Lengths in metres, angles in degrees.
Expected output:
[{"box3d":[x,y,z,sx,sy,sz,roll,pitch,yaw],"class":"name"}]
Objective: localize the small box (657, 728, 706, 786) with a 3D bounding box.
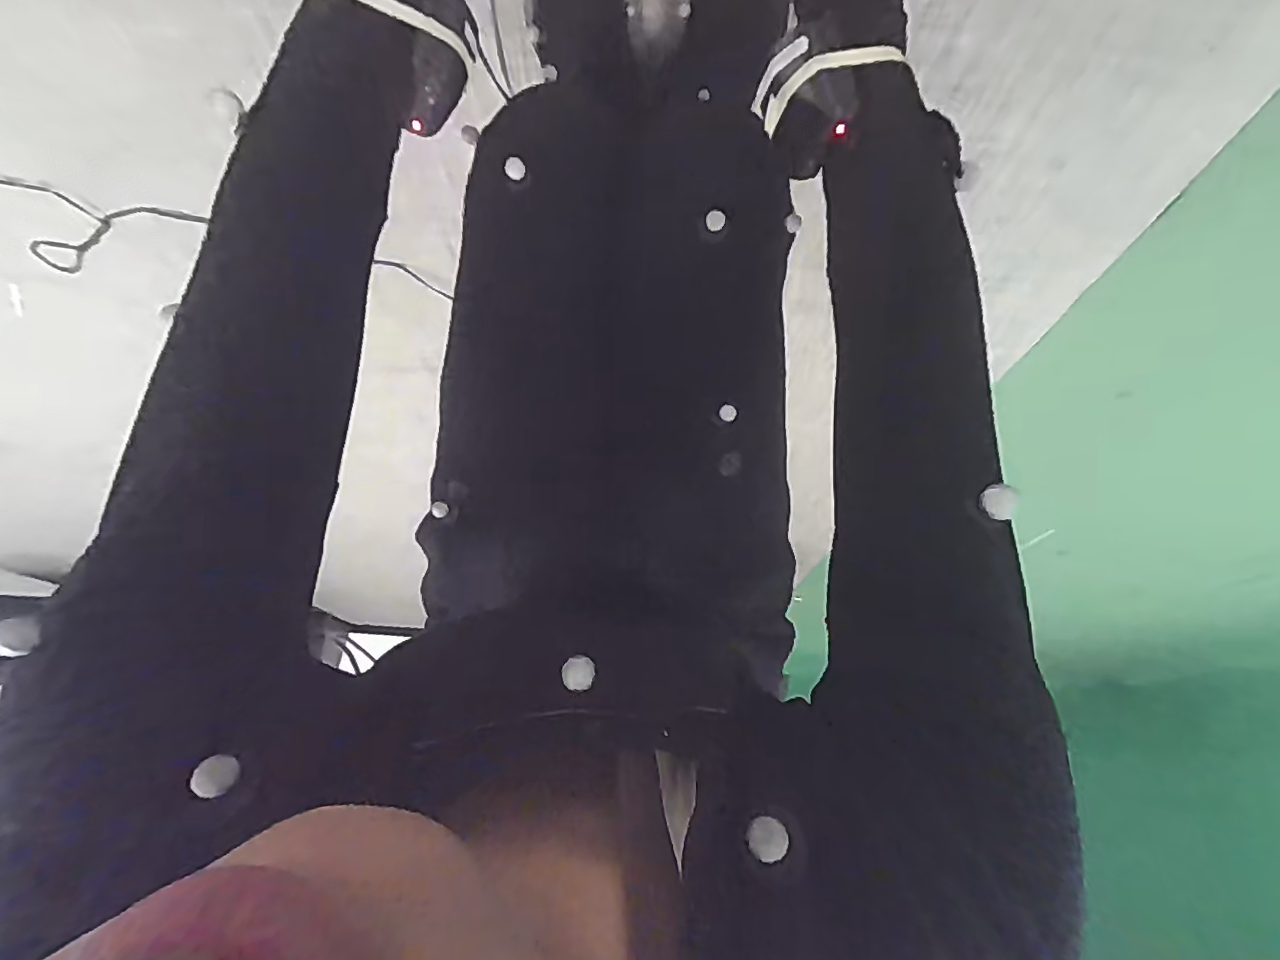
[{"box3d":[0.151,0.997,1.950,0.168,0.176,0.179,3,153,5],"class":"small box"}]
